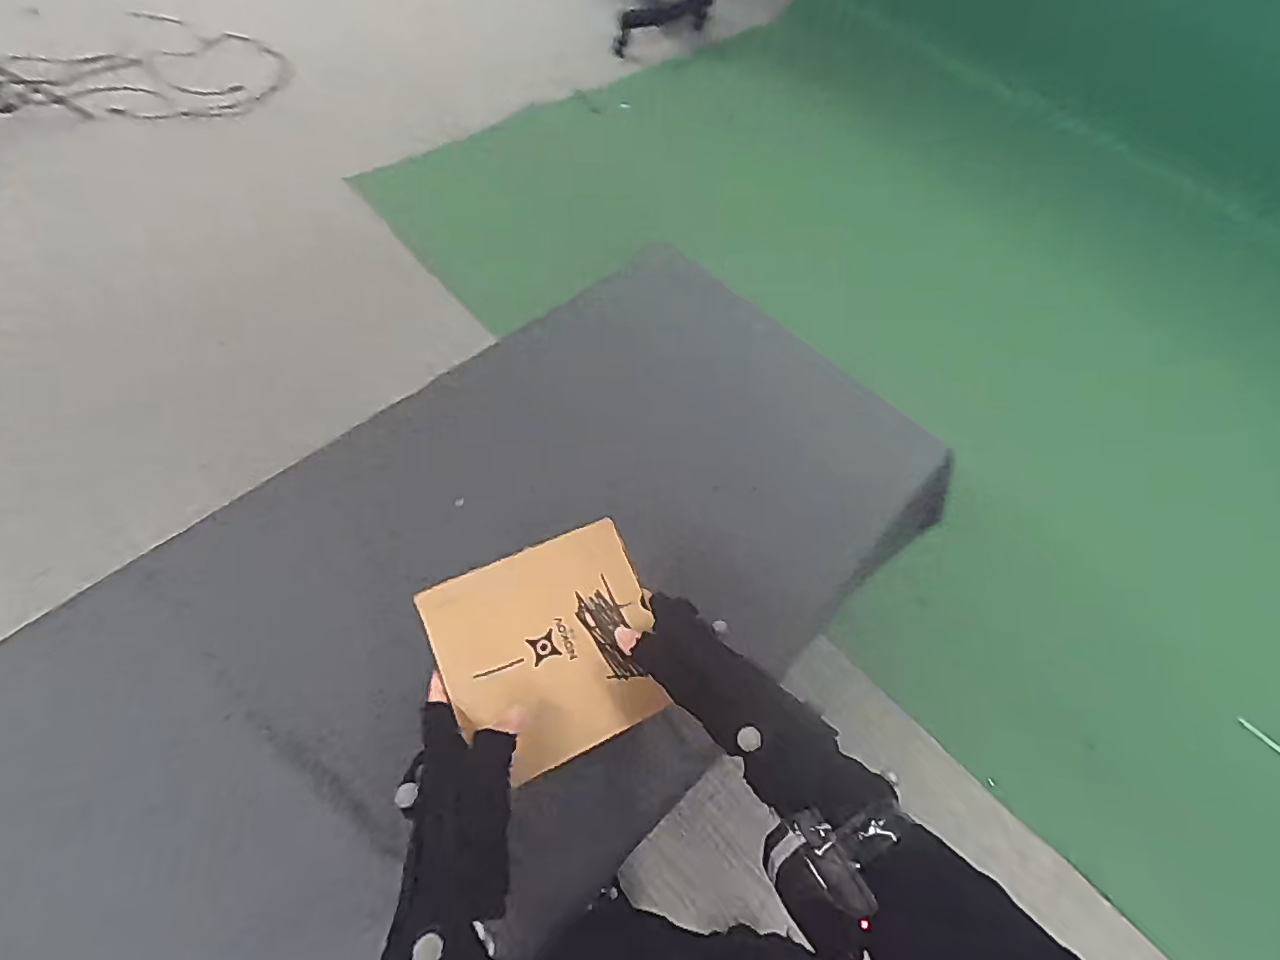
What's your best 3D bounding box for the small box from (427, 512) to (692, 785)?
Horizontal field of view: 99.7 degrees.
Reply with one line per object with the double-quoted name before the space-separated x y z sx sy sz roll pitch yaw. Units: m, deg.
"small box" -0.078 0.153 0.509 0.179 0.176 0.168 -19 73 -17
